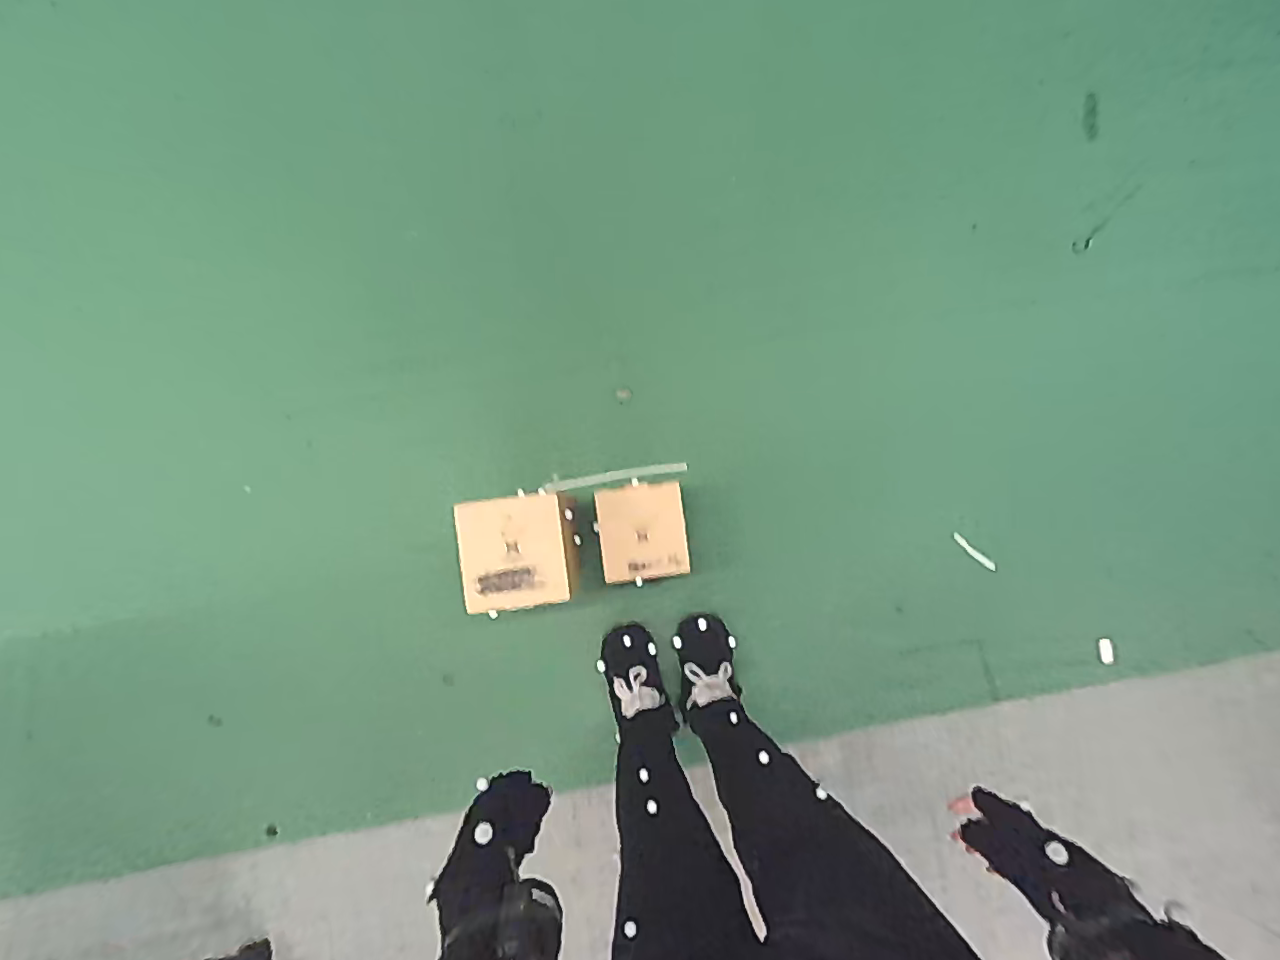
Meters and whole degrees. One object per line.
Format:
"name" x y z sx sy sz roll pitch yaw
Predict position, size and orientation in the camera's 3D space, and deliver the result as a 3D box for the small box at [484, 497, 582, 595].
"small box" -0.212 0.128 1.112 0.168 0.176 0.179 -5 89 -2
